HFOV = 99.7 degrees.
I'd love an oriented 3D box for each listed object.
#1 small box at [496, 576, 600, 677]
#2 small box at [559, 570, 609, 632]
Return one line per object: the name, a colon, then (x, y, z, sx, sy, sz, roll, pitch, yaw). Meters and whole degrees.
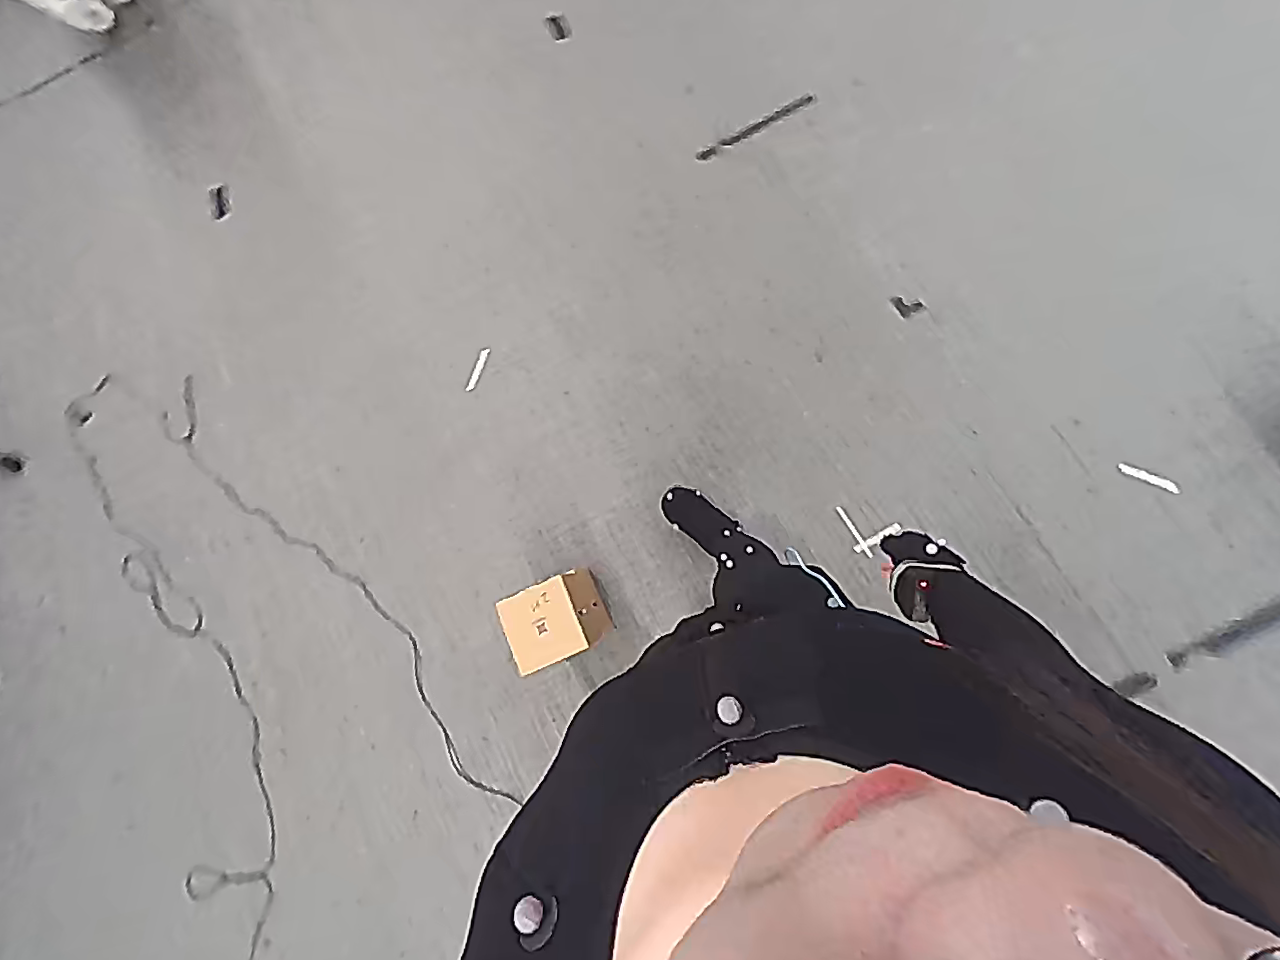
small box: (-0.209, 0.337, 1.280, 0.168, 0.176, 0.179, -25, 79, 2)
small box: (-0.196, 0.353, 1.444, 0.168, 0.176, 0.179, -26, 80, 2)
